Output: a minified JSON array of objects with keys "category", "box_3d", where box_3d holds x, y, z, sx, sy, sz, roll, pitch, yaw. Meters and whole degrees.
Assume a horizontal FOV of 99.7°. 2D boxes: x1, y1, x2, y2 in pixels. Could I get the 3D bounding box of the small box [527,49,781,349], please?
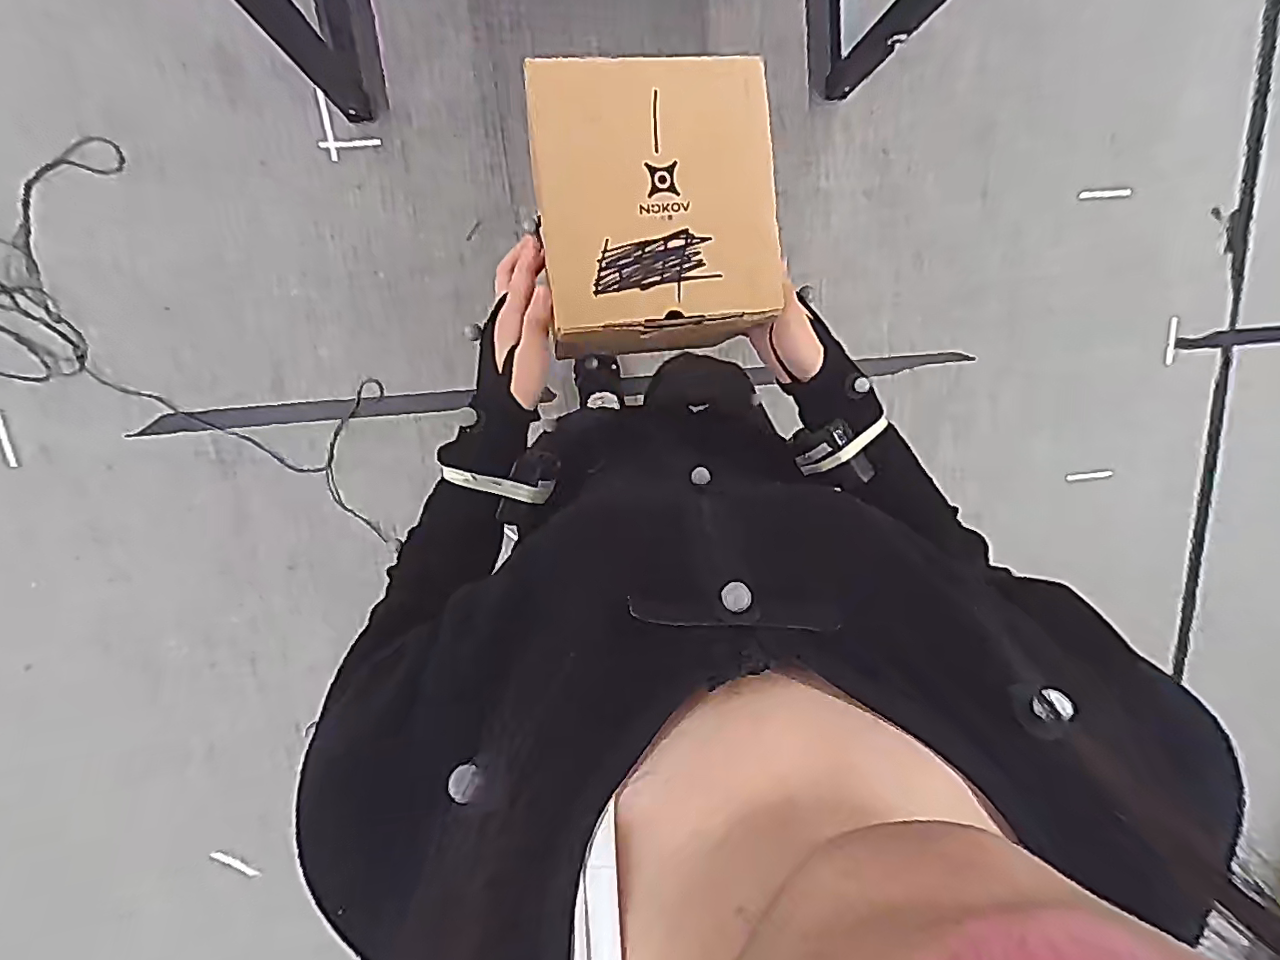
[{"category":"small box","box_3d":[0.003,-0.208,0.448,0.168,0.176,0.179,-7,95,-8]}]
